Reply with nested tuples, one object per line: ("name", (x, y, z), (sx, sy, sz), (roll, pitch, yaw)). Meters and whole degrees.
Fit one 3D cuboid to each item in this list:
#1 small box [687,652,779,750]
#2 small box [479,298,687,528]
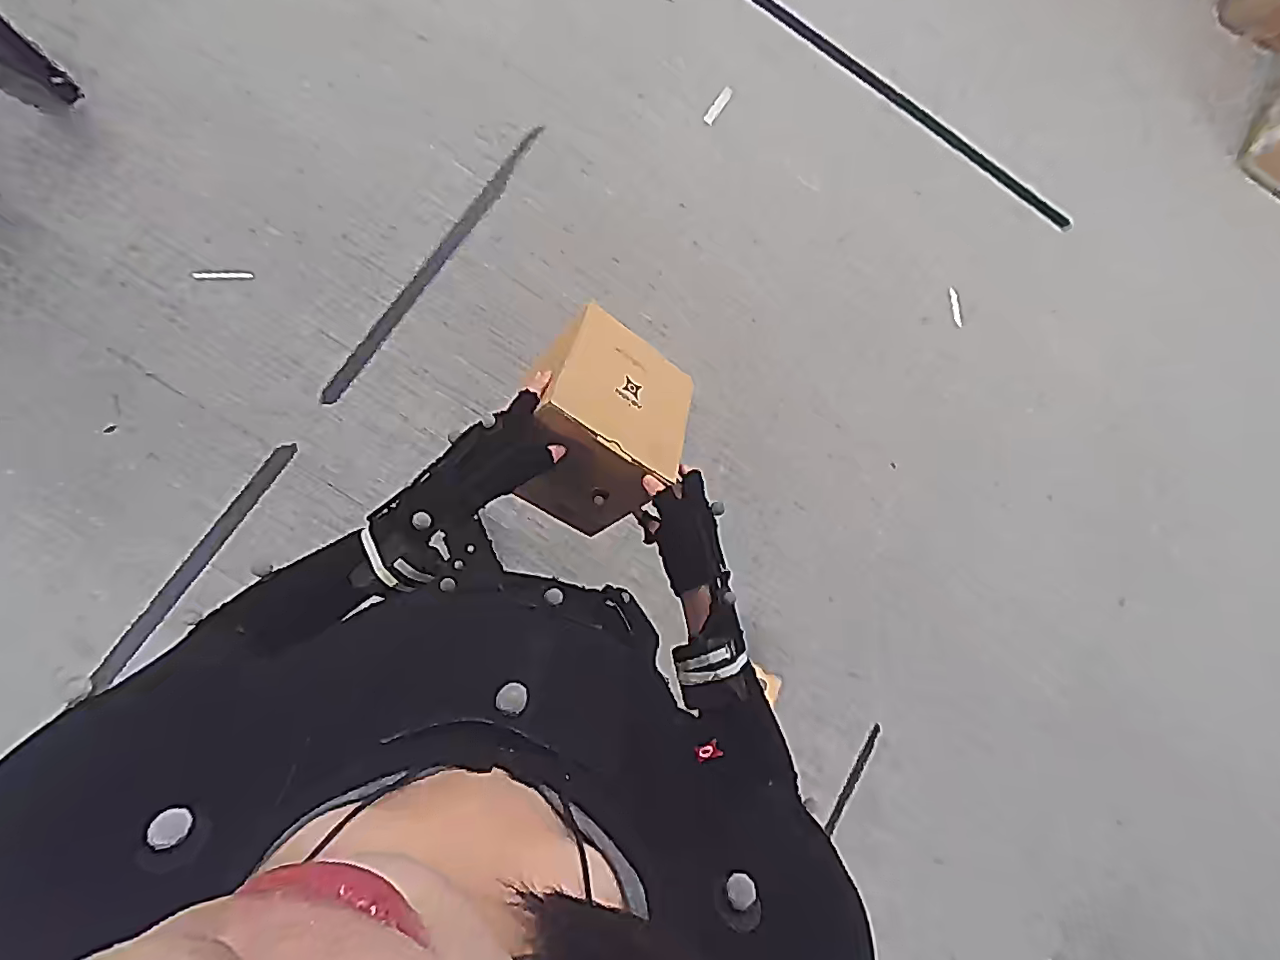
("small box", (0.244, 0.586, 1.462), (0.168, 0.176, 0.179), (26, 80, -4))
("small box", (-0.068, -0.068, 0.642), (0.168, 0.176, 0.179), (33, 46, -24))
